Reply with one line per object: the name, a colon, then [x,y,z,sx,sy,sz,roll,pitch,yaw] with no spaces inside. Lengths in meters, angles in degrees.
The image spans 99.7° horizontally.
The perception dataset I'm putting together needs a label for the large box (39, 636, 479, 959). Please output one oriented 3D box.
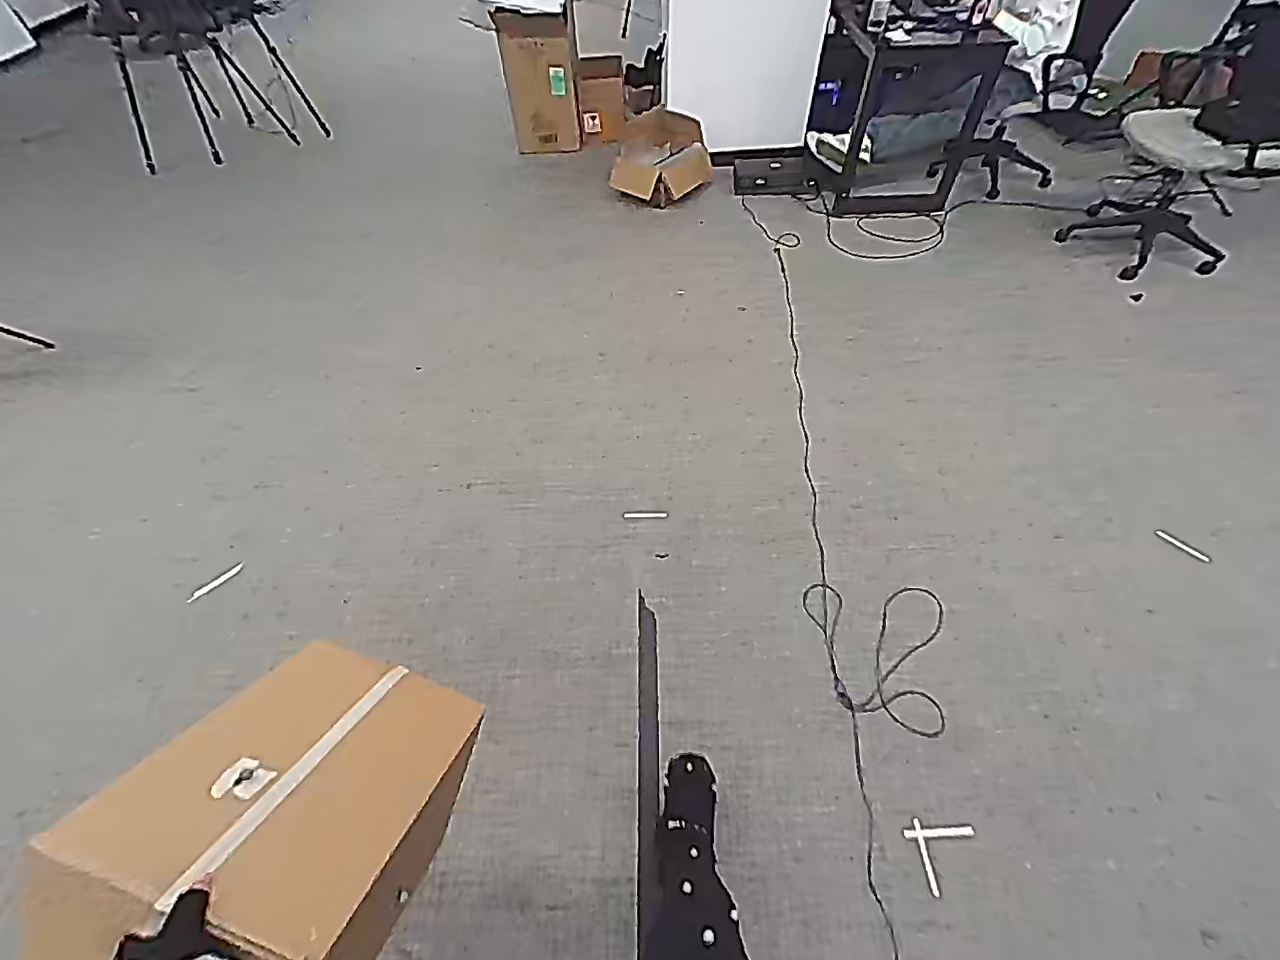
large box: [-0.487,0.503,0.768,0.320,0.320,0.408,22,17,3]
